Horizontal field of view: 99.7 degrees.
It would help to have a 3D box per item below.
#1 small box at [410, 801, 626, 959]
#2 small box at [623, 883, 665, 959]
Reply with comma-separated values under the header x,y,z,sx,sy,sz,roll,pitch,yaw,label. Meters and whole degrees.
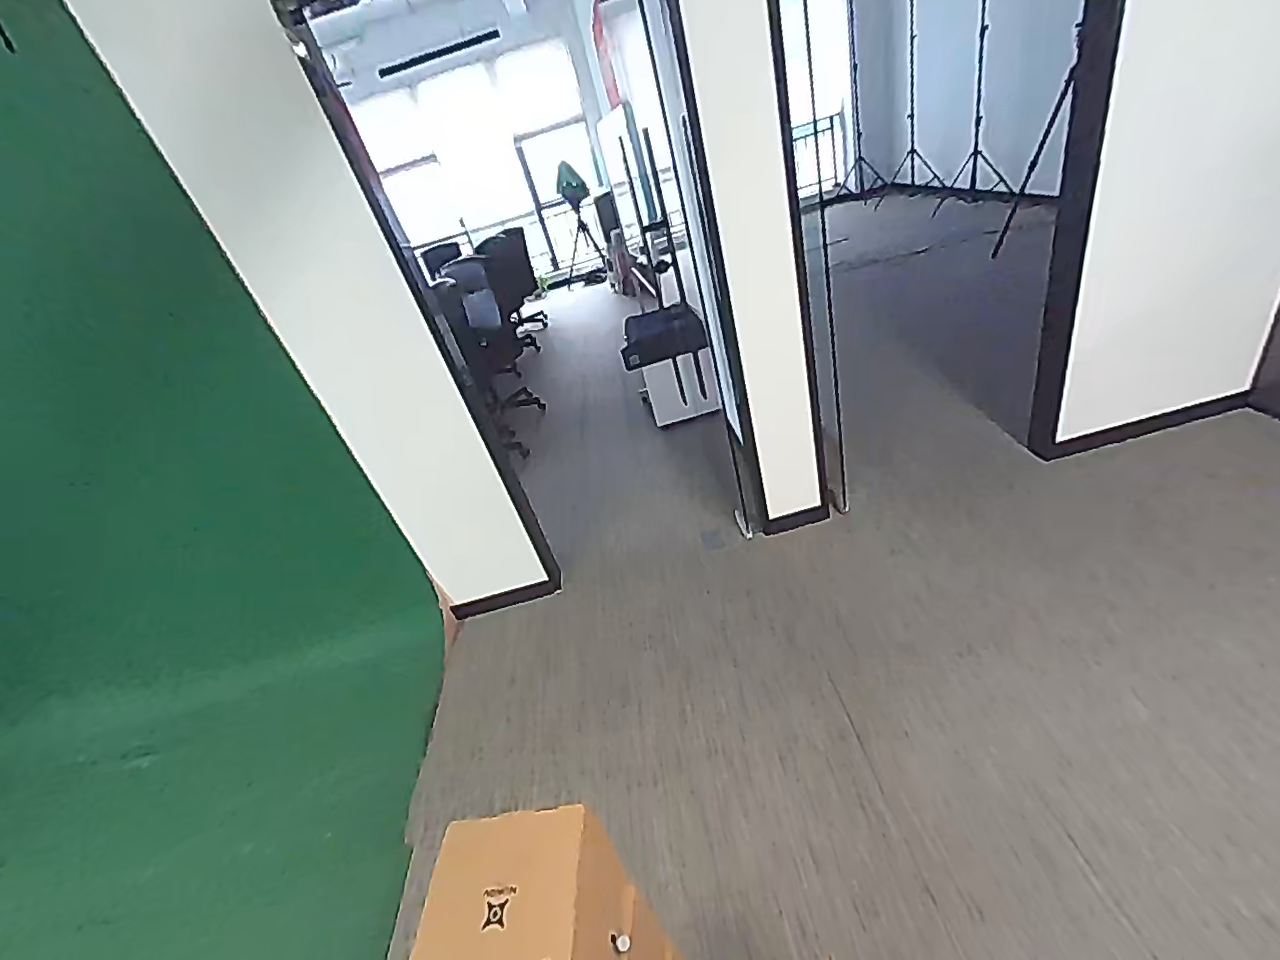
x,y,z,sx,sy,sz,roll,pitch,yaw,label
-0.117,0.484,0.577,0.168,0.176,0.179,-13,30,9,small box
-0.071,0.623,0.655,0.168,0.176,0.179,-9,31,14,small box
